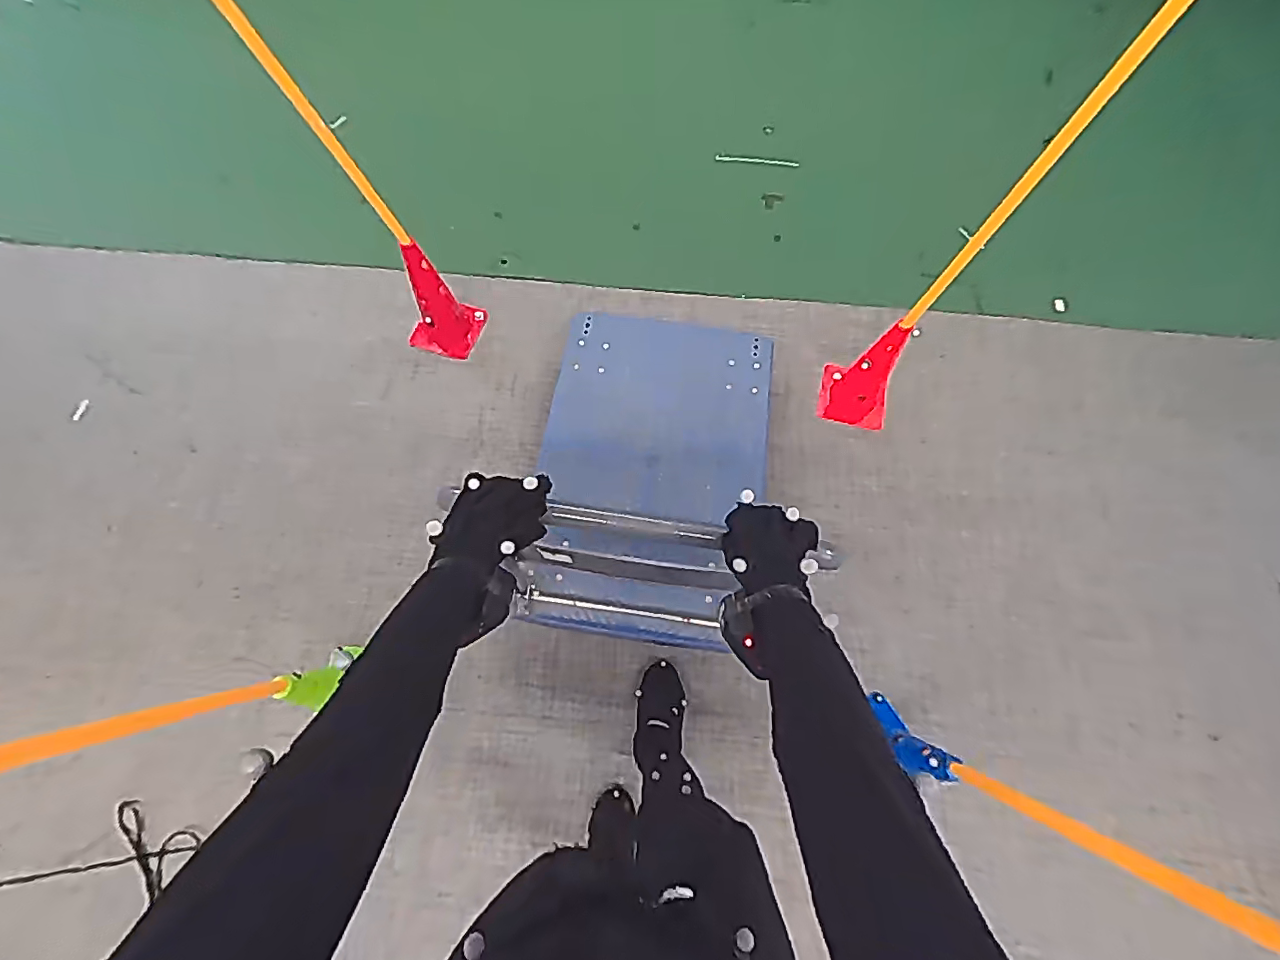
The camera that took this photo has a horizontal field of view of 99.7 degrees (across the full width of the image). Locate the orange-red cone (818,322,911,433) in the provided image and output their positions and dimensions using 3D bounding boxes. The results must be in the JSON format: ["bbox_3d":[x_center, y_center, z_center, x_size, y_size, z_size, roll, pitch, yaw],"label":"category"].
[{"bbox_3d":[0.658,-0.311,1.508,0.198,0.360,0.199,15,69,6],"label":"orange-red cone"}]
